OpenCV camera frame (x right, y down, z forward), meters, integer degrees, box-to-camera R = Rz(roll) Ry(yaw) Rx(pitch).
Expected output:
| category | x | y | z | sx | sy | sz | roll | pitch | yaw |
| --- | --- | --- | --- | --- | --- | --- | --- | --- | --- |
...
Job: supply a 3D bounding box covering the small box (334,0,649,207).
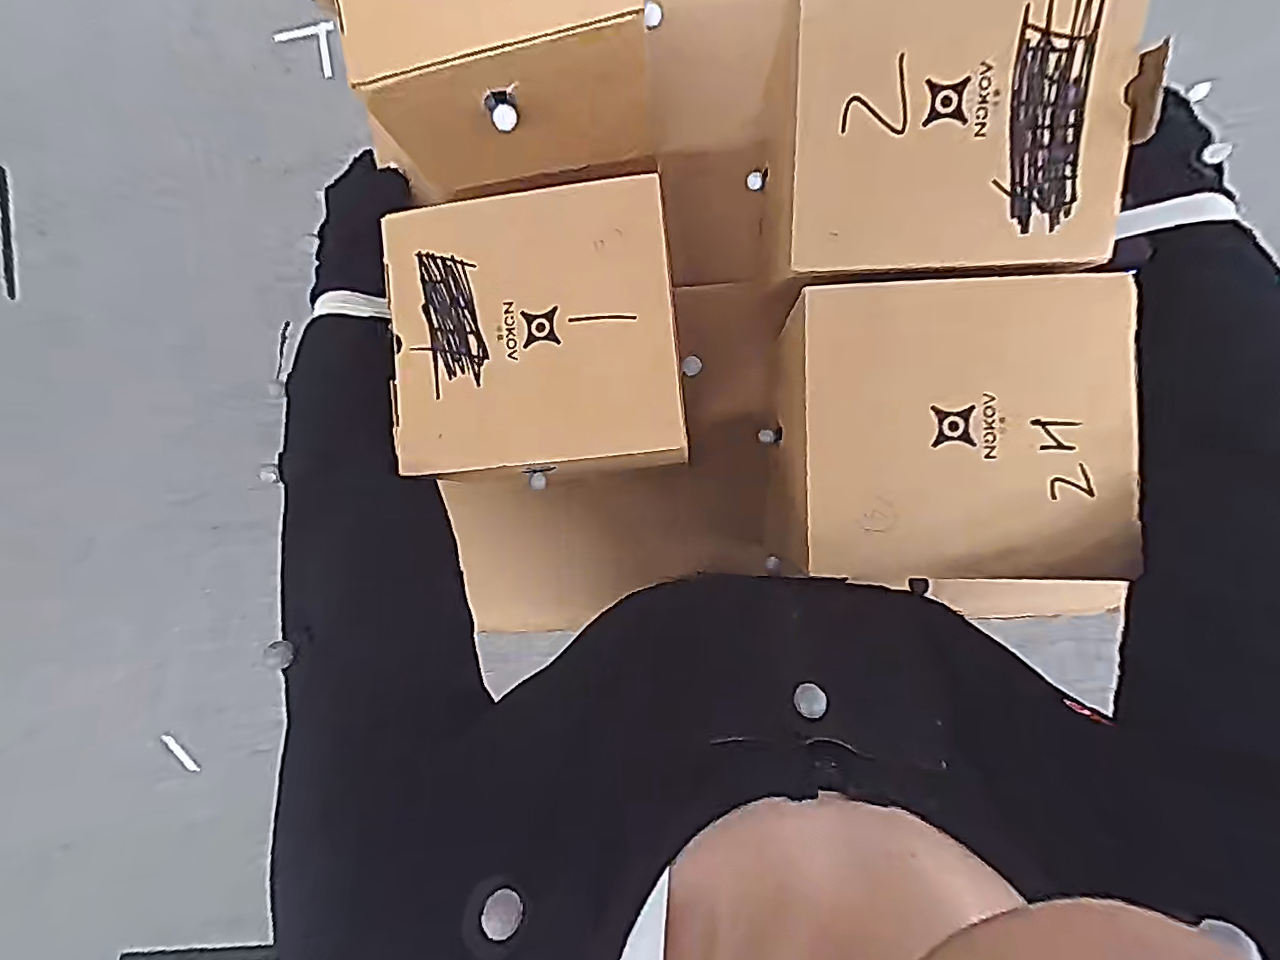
| category | x | y | z | sx | sy | sz | roll | pitch | yaw |
| --- | --- | --- | --- | --- | --- | --- | --- | --- | --- |
| small box | -0.091 | -0.328 | 0.386 | 0.179 | 0.176 | 0.168 | -10 | 89 | 6 |
